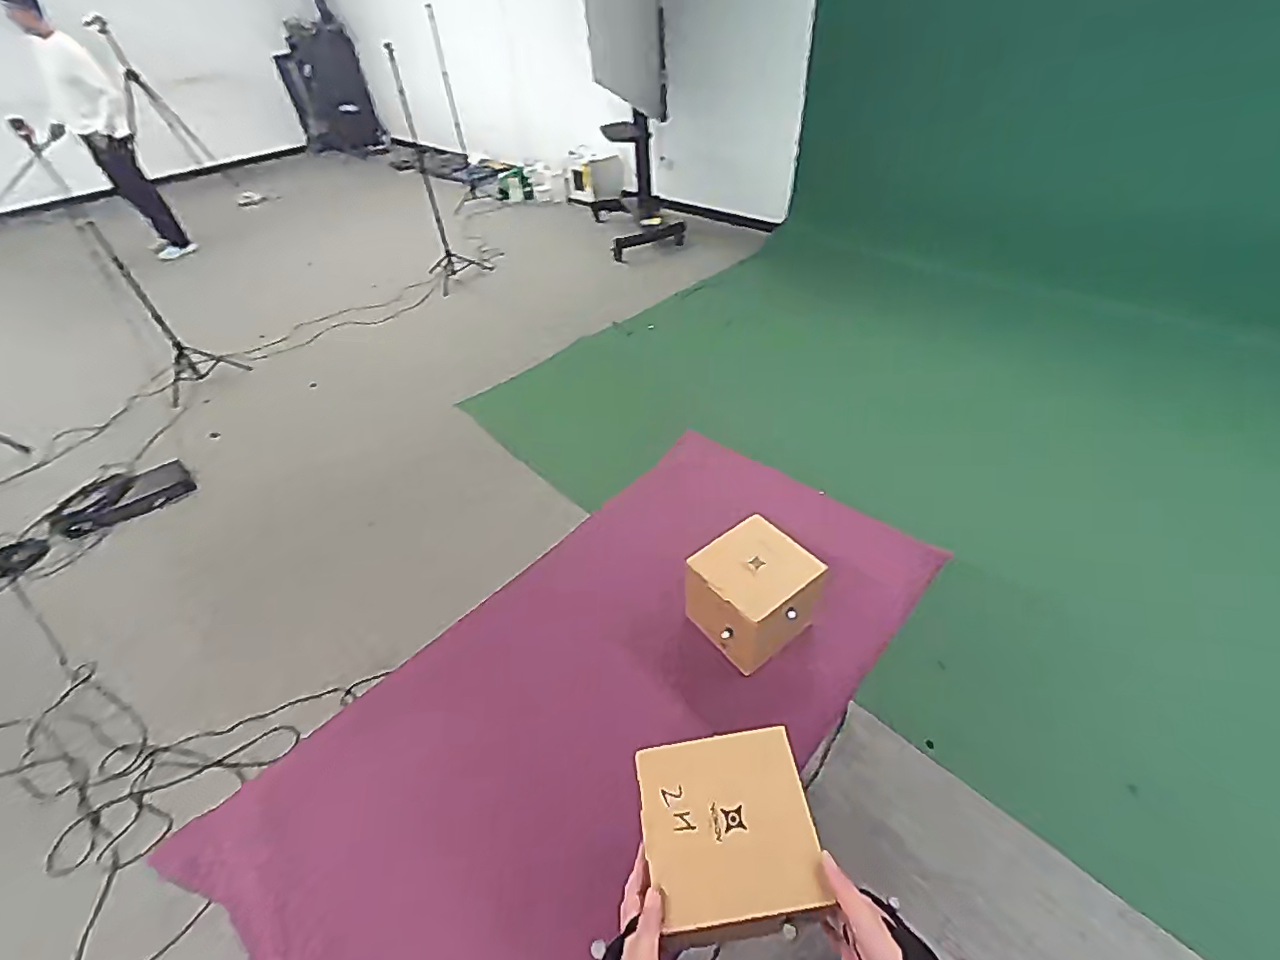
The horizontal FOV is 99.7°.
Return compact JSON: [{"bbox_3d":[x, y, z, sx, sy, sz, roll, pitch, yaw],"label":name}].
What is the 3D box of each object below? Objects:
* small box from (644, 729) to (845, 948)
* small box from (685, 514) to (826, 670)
[{"bbox_3d":[0.106,0.406,0.612,0.179,0.176,0.168,-10,45,1],"label":"small box"},{"bbox_3d":[0.199,0.200,0.962,0.179,0.176,0.168,-29,48,-24],"label":"small box"}]
